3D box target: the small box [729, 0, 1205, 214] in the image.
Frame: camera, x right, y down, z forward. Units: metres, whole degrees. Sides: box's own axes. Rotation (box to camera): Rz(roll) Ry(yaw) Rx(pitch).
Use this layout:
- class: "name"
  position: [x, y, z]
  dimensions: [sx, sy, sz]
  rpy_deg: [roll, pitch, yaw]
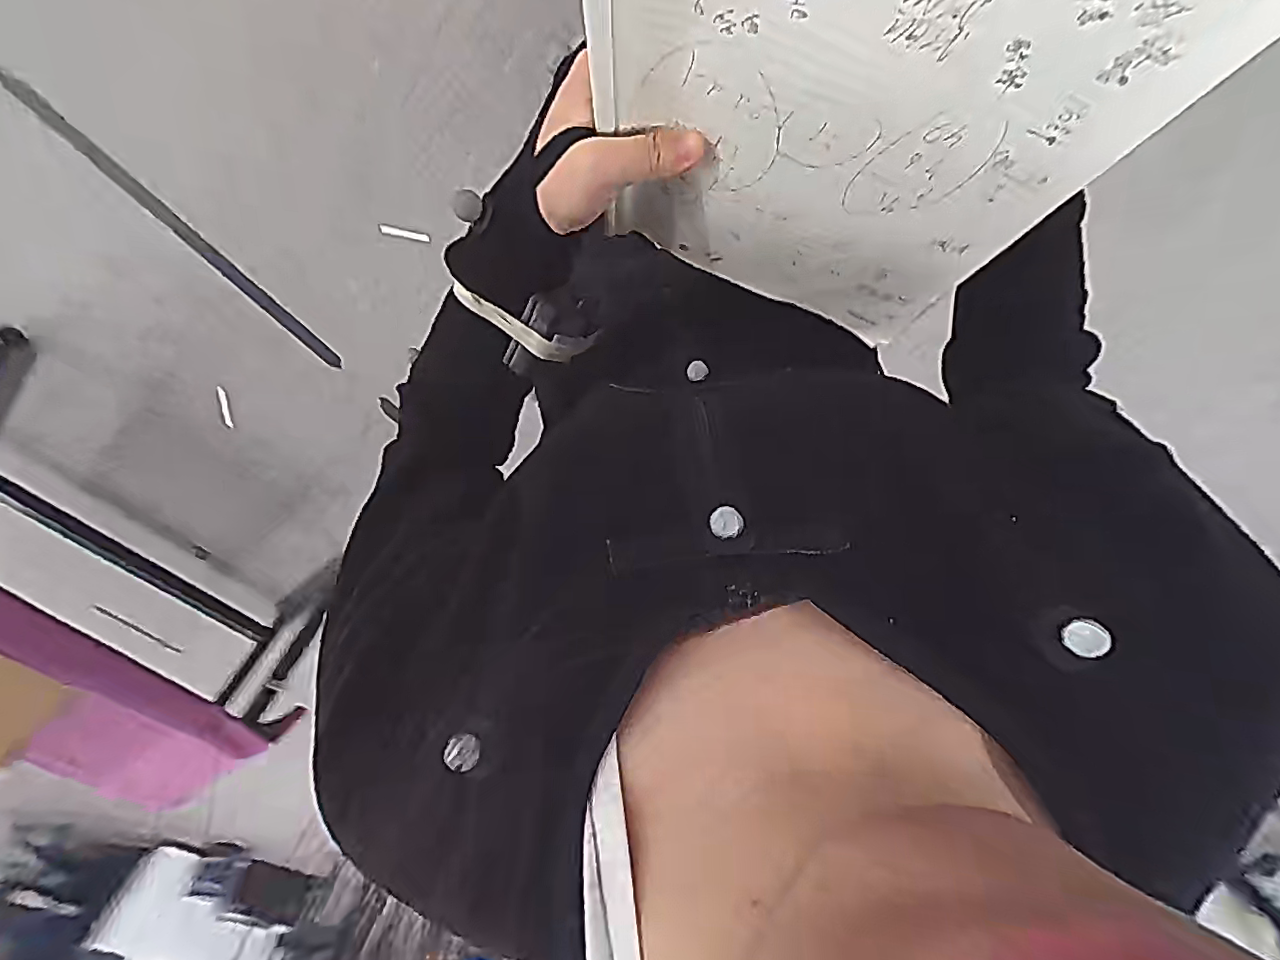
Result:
- class: "small box"
  position: [0.136, -0.255, 0.249]
  dimensions: [0.168, 0.176, 0.179]
  rpy_deg: [2, 146, 0]
